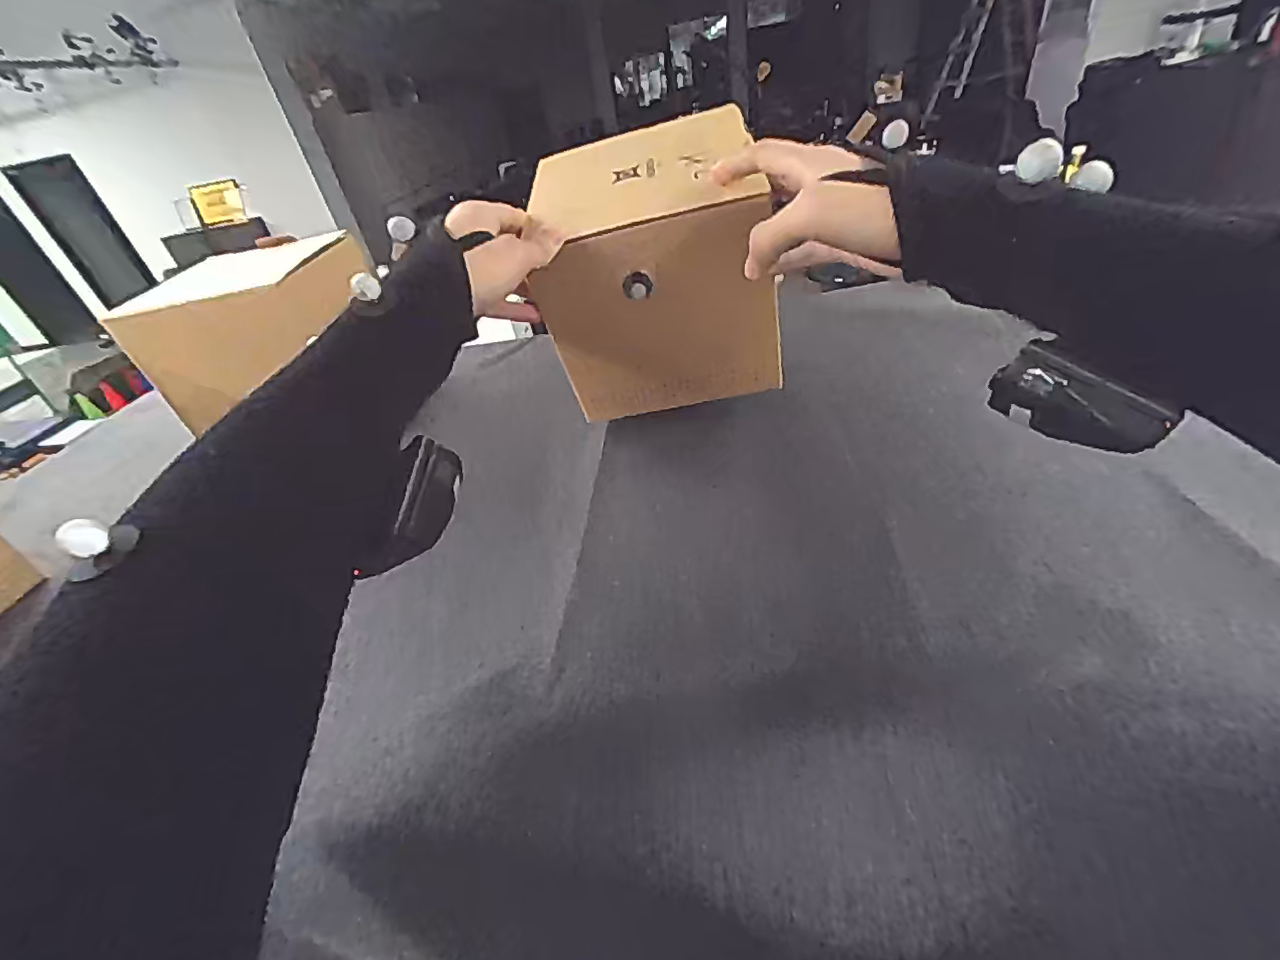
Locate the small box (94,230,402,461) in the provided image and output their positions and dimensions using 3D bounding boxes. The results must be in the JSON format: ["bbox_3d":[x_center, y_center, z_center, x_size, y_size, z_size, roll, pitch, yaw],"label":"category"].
[{"bbox_3d":[-0.378,-0.143,0.570,0.168,0.176,0.179,-10,36,4],"label":"small box"}]

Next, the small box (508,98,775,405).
[{"bbox_3d":[0.012,-0.183,0.460,0.179,0.176,0.168,-9,50,9],"label":"small box"}]
